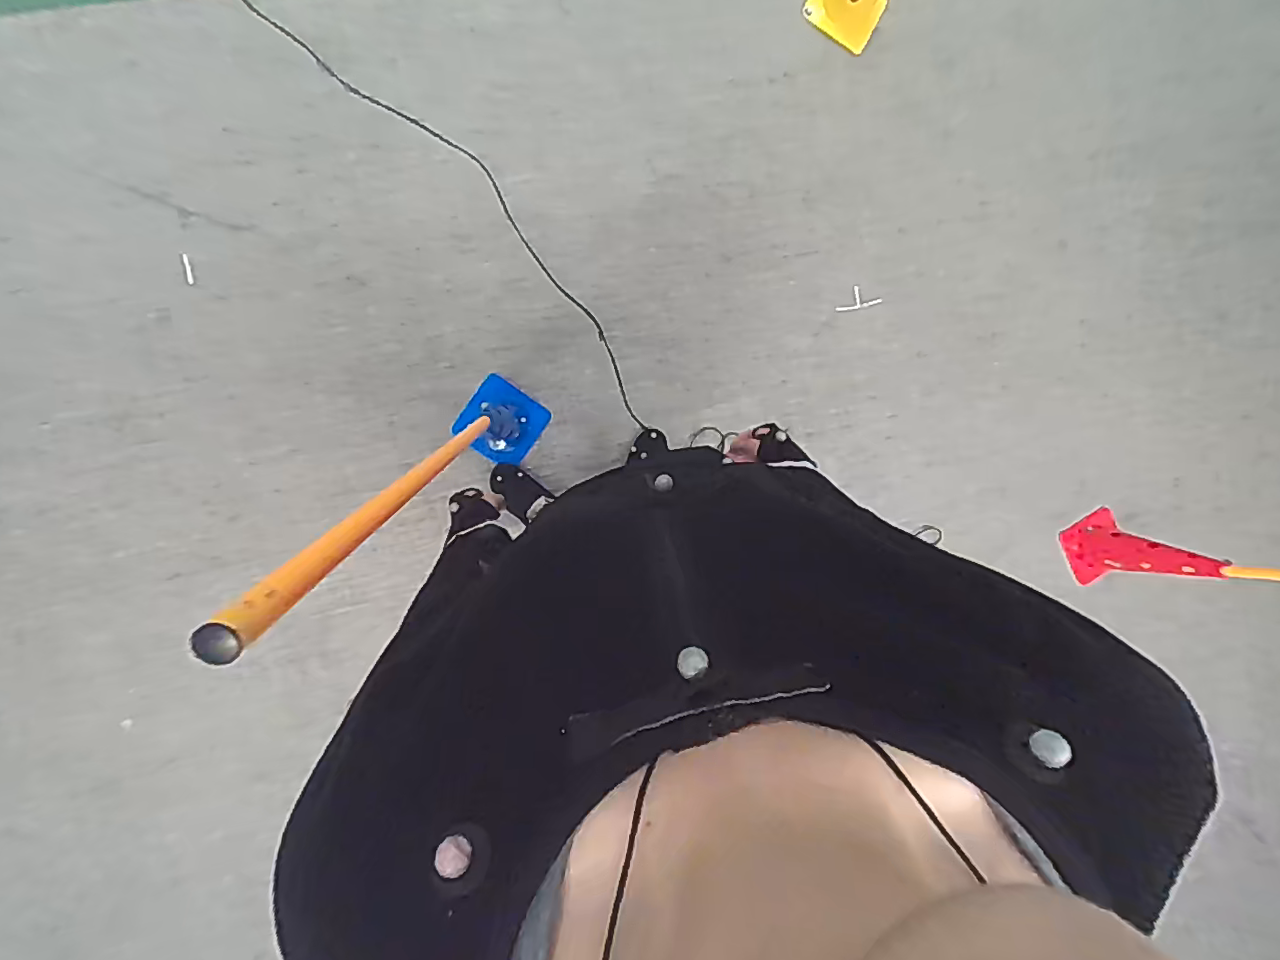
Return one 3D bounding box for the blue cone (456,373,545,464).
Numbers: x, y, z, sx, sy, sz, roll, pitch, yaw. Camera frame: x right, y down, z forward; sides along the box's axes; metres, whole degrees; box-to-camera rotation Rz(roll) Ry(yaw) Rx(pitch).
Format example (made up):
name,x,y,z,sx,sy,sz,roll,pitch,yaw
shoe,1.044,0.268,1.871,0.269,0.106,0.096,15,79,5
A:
name,x,y,z,sx,sy,sz,roll,pitch,yaw
blue cone,-0.337,-0.137,1.248,0.192,0.380,0.193,34,91,-11
